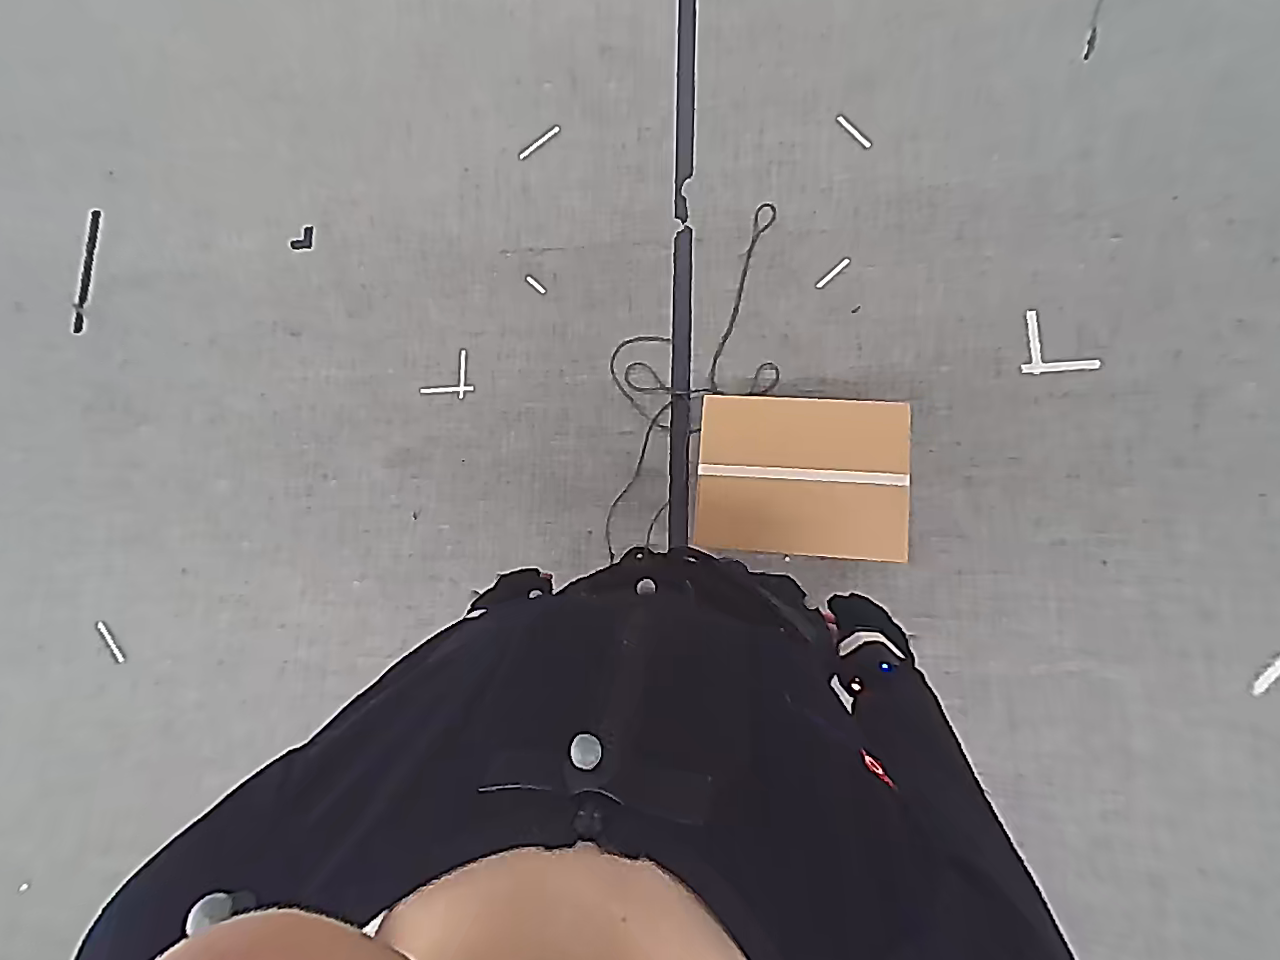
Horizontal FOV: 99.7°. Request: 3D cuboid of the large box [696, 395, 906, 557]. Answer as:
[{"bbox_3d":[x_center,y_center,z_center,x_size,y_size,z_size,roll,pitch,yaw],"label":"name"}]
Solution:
[{"bbox_3d":[0.334,0.004,1.221,0.408,0.320,0.320,4,85,7],"label":"large box"}]
